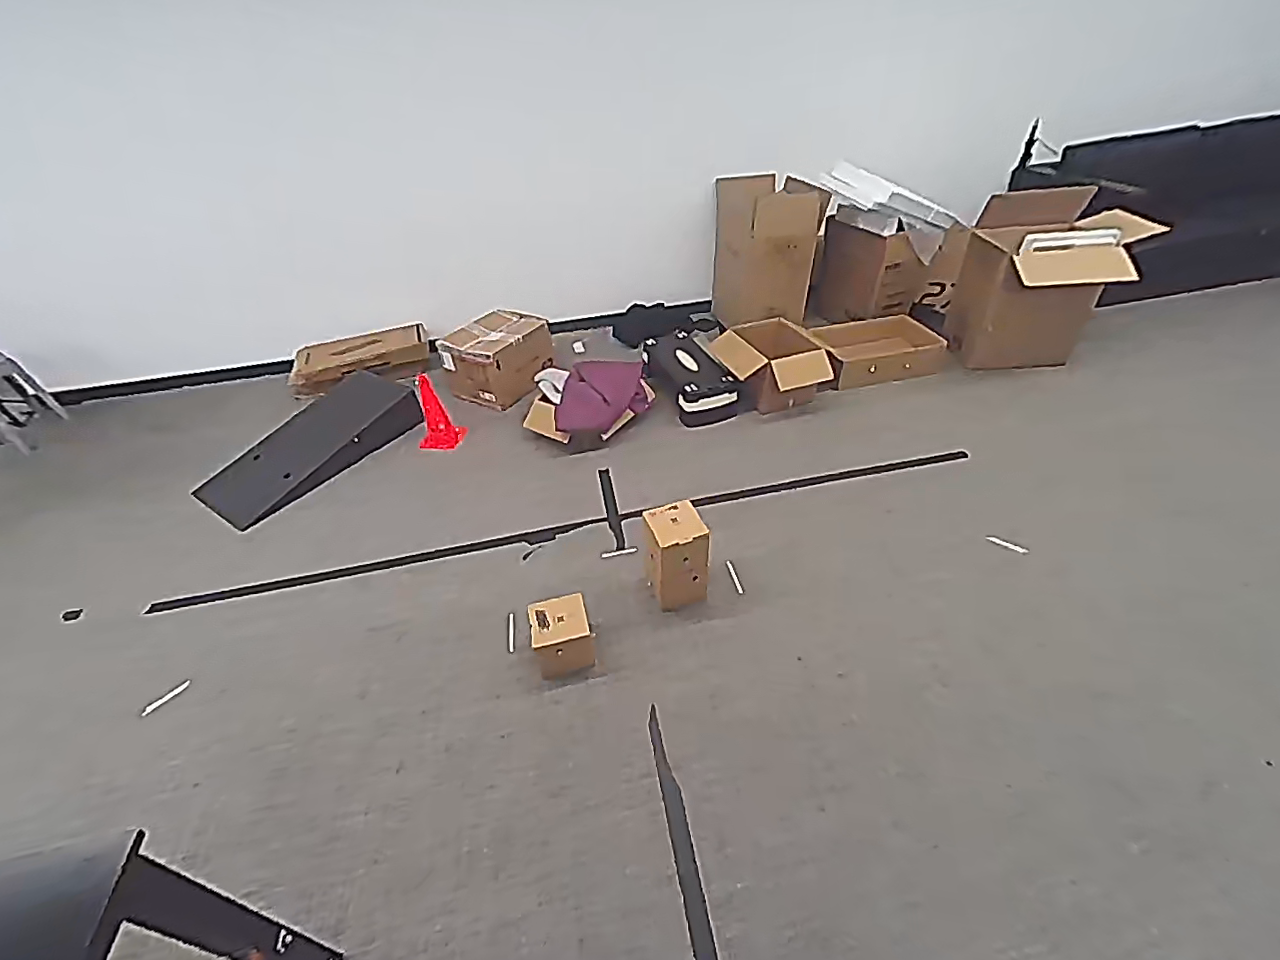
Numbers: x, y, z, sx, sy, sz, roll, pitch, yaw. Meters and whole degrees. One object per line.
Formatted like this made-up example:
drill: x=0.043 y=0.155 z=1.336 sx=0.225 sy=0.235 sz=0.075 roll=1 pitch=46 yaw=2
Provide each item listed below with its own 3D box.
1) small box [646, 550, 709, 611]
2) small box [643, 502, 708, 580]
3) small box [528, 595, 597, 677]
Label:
small box: x=0.127 y=0.326 z=1.877 sx=0.179 sy=0.176 sz=0.168 roll=-14 pitch=40 yaw=-11
small box: x=0.117 y=0.205 z=1.766 sx=0.168 sy=0.176 sz=0.179 roll=-15 pitch=41 yaw=-12
small box: x=-0.244 y=0.495 z=1.704 sx=0.179 sy=0.176 sz=0.168 roll=-12 pitch=40 yaw=-9
